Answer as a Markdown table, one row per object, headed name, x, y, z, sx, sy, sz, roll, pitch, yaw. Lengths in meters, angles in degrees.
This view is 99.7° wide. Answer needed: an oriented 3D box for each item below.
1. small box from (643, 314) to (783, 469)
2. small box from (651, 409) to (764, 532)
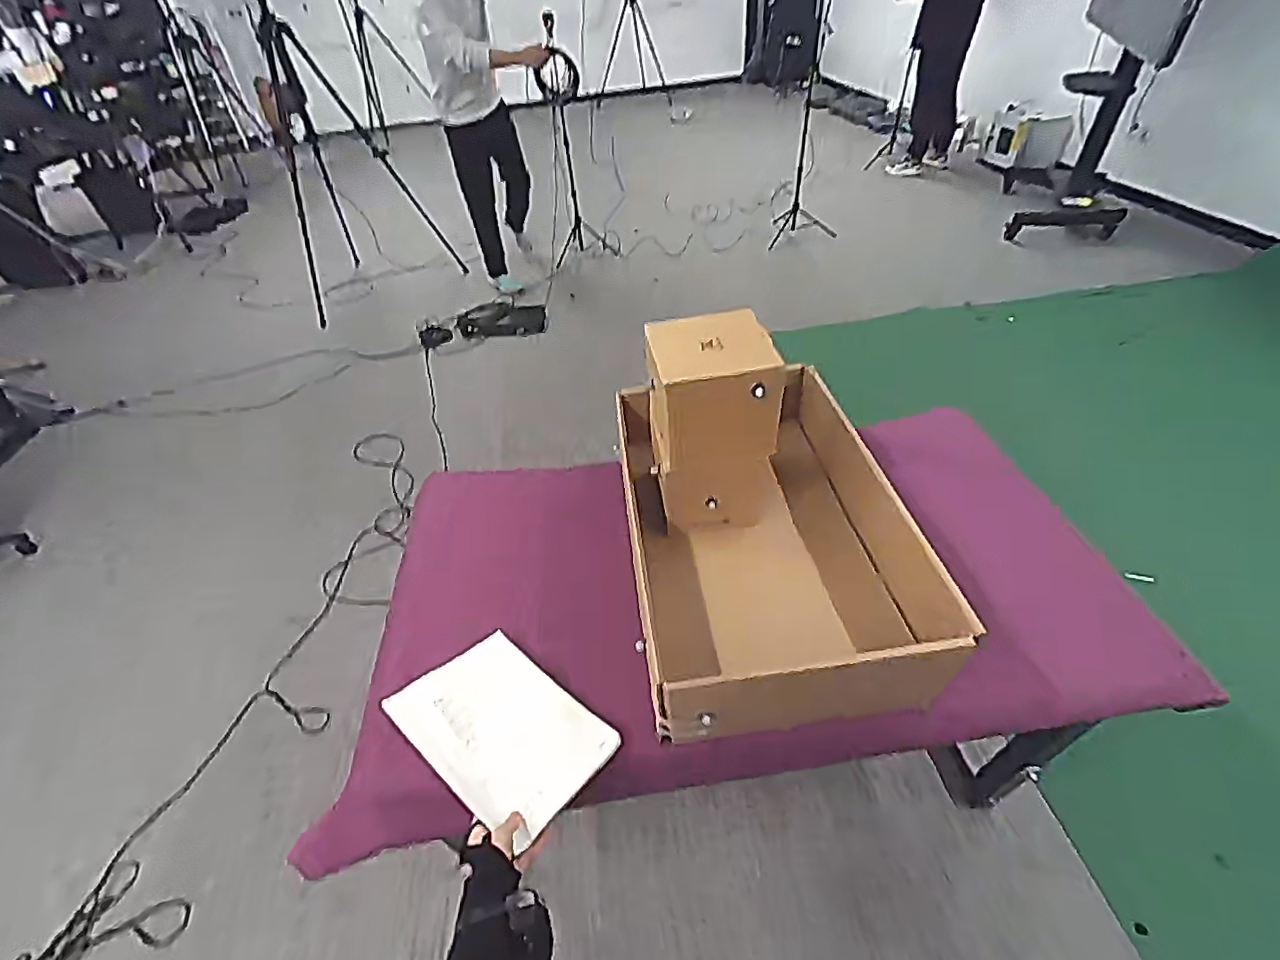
| name | x | y | z | sx | sy | sz | roll | pitch | yaw |
| --- | --- | --- | --- | --- | --- | --- | --- | --- | --- |
| small box | 0.108 | -0.135 | 0.847 | 0.179 | 0.176 | 0.168 | -9 | 45 | -3 |
| small box | 0.115 | -0.021 | 0.962 | 0.168 | 0.176 | 0.179 | -8 | 45 | -2 |
